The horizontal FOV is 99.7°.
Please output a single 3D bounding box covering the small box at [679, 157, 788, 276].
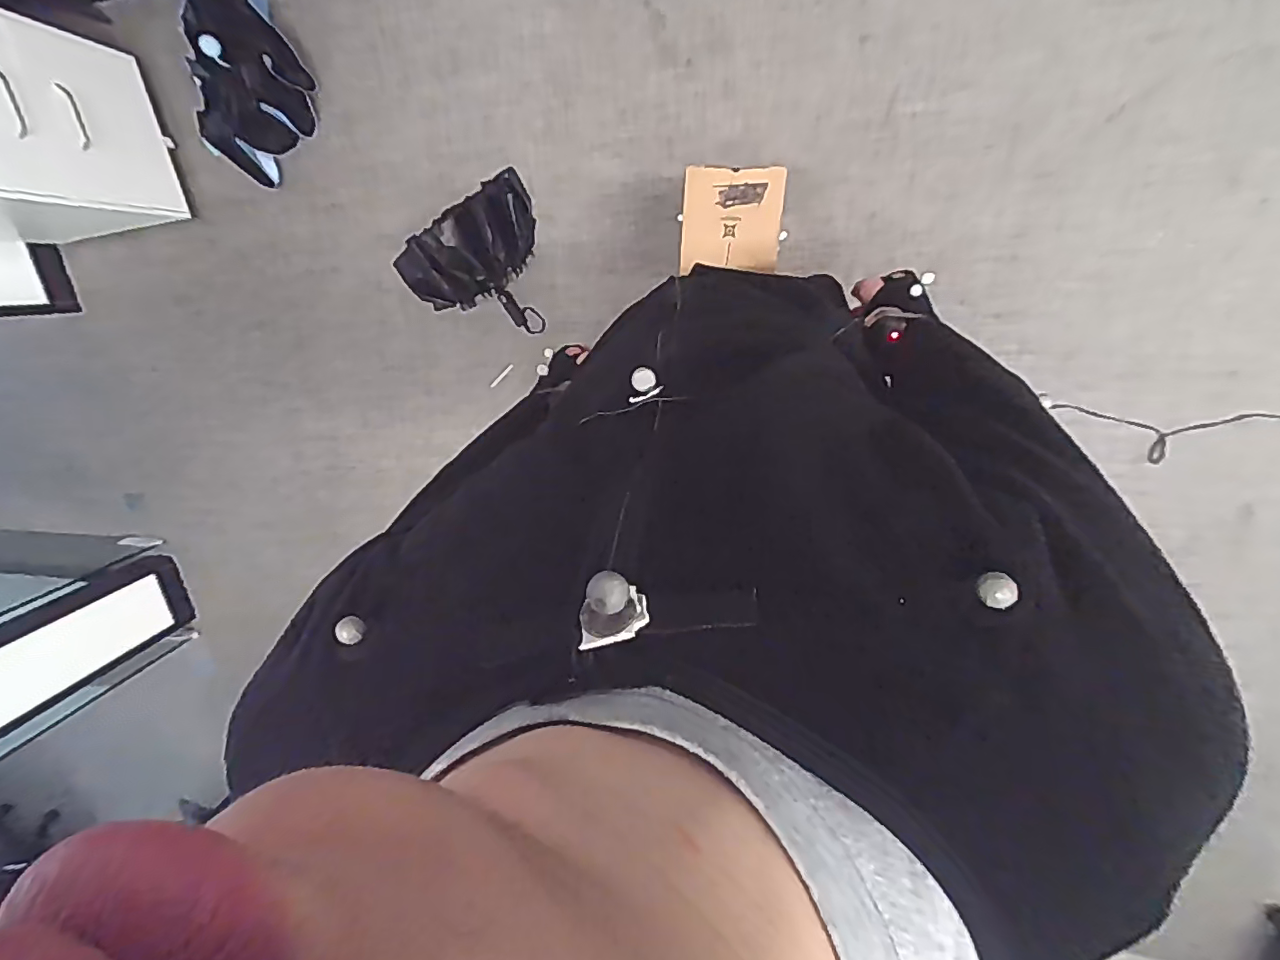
[{"bbox_3d":[0.167,-0.469,0.980,0.168,0.176,0.179,6,112,9],"label":"small box"}]
